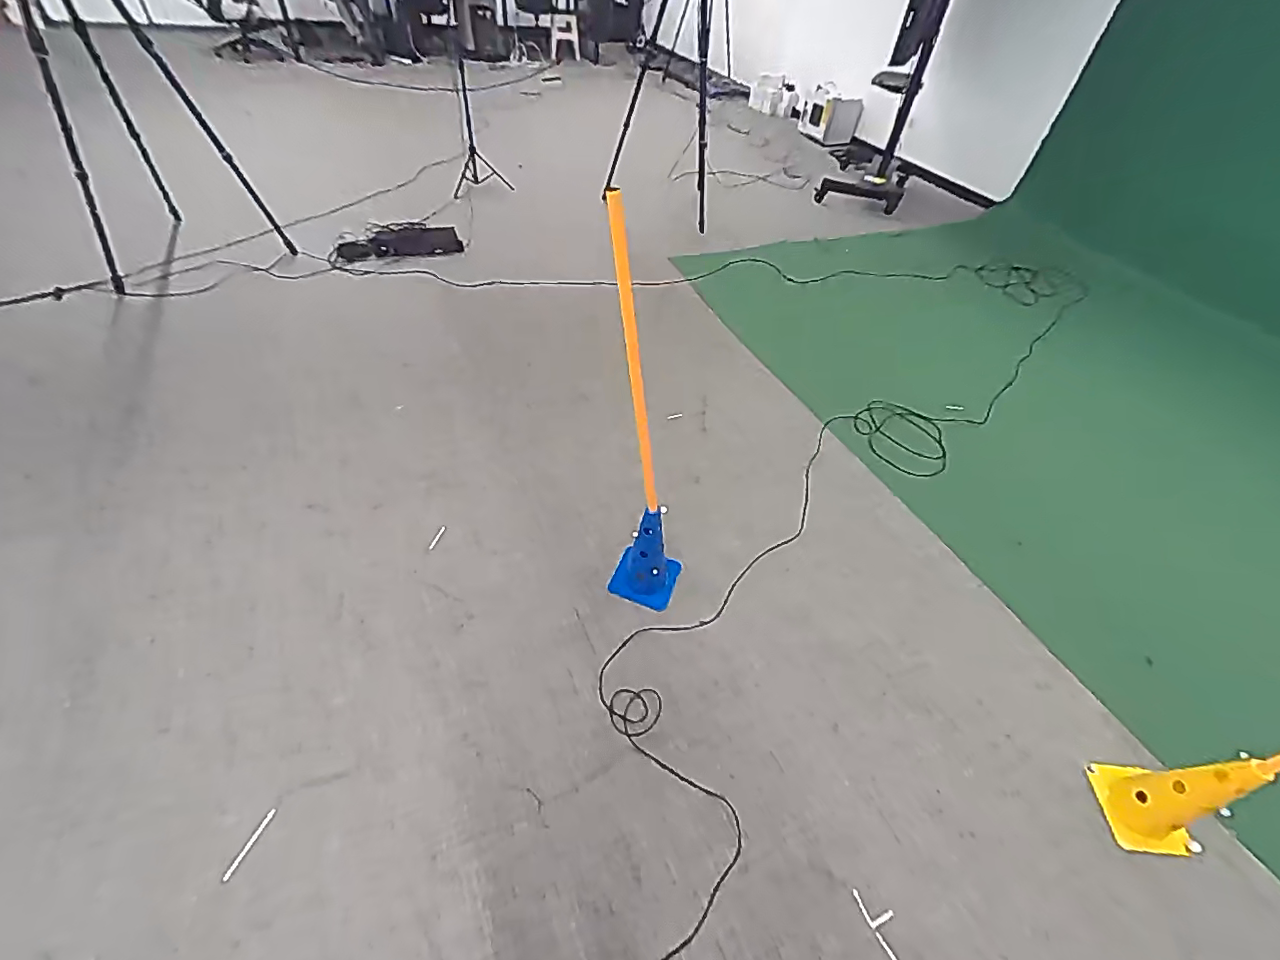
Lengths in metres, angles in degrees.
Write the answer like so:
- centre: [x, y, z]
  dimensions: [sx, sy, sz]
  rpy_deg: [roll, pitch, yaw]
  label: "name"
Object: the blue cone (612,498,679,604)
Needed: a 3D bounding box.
- centre: [0.025, 0.197, 1.633]
  dimensions: [0.193, 0.380, 0.192]
  rpy_deg: [16, 48, 11]
  label: "blue cone"
